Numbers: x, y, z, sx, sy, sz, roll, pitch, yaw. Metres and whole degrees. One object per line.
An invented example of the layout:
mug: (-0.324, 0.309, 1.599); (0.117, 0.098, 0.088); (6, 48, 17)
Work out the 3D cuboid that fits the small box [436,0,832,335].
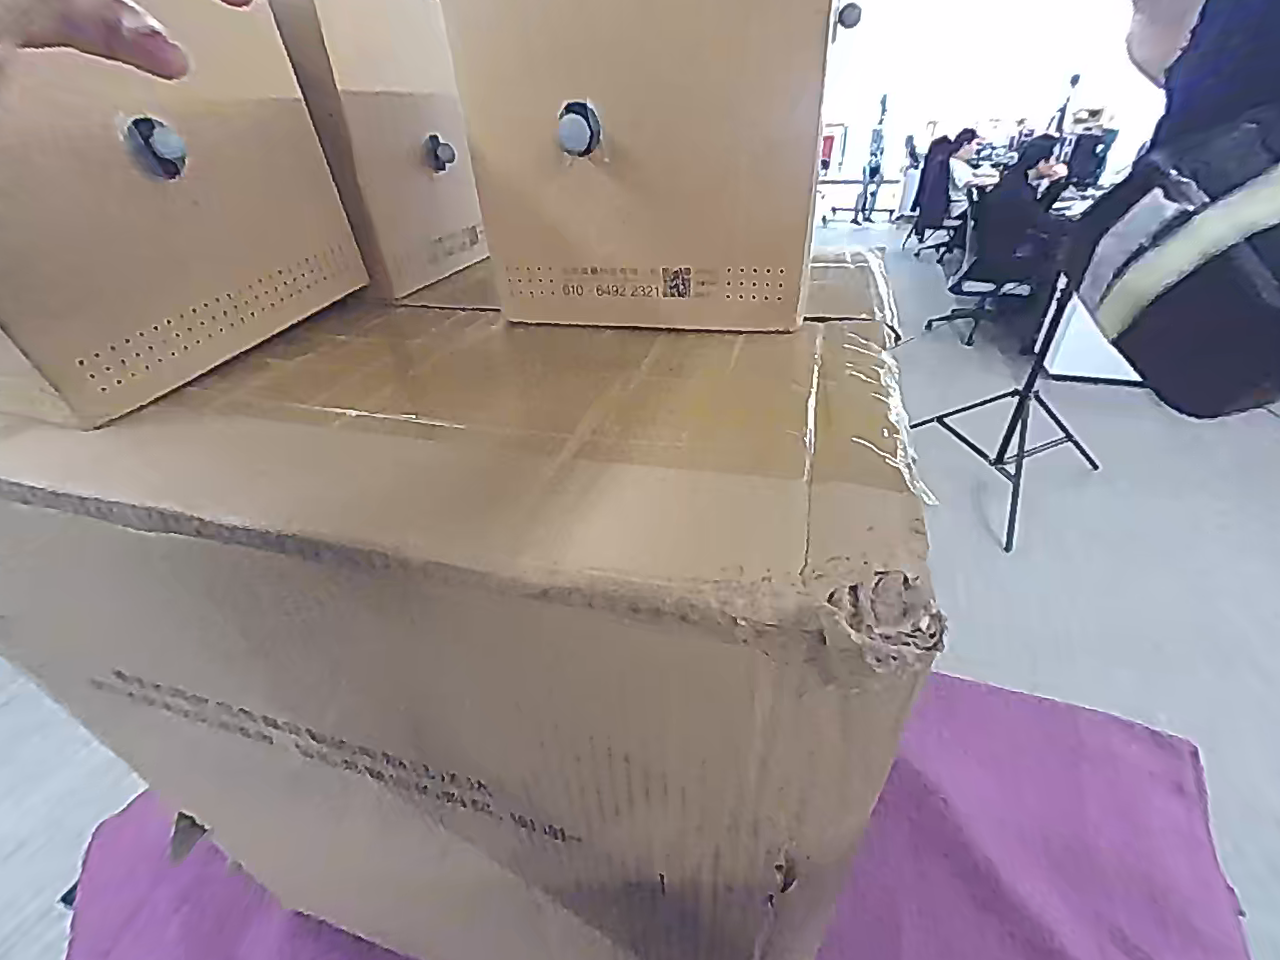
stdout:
small box: (0.019, -0.190, 0.312); (0.168, 0.176, 0.179); (6, 34, 15)
